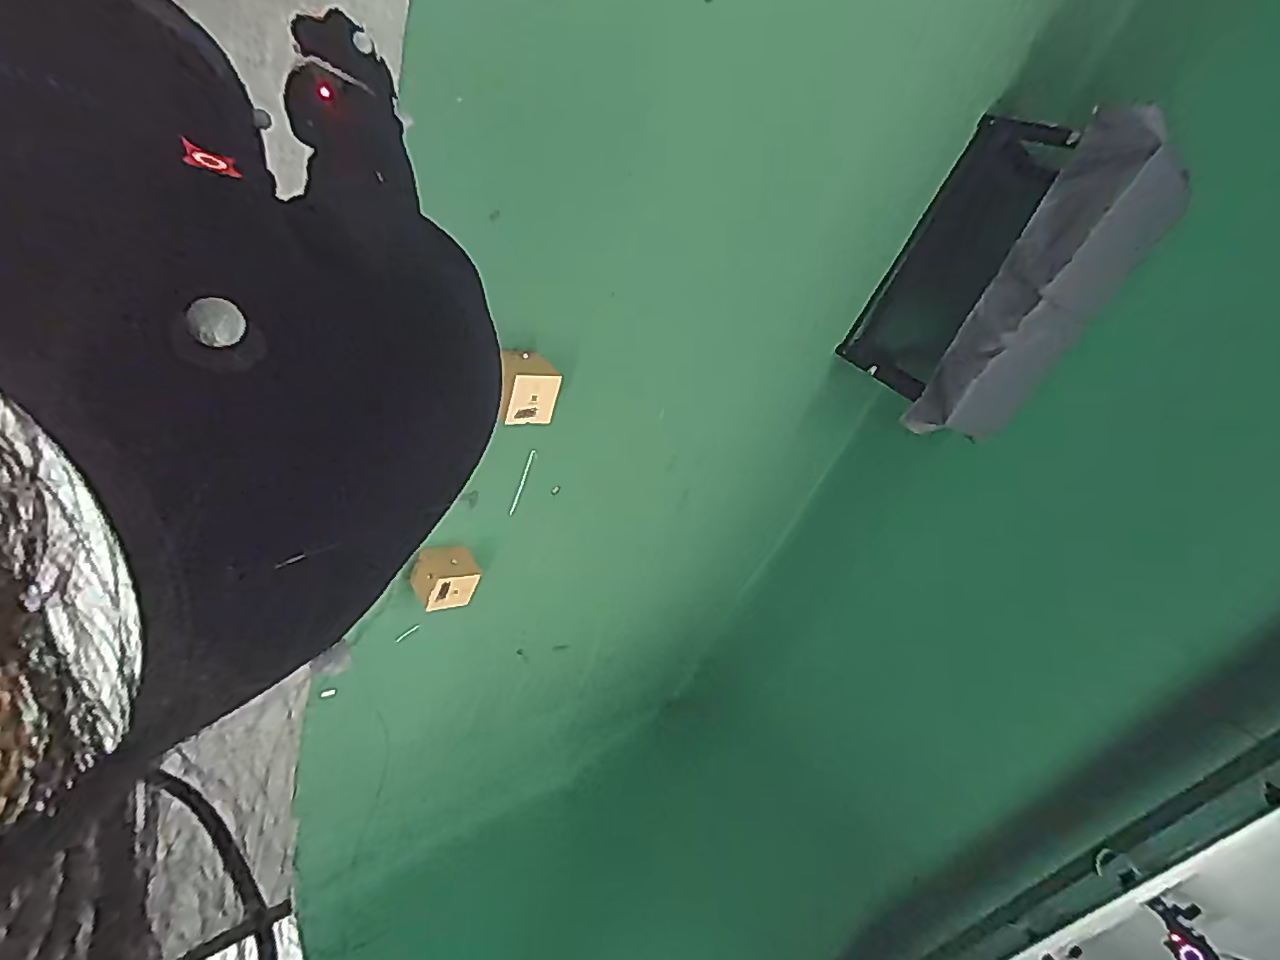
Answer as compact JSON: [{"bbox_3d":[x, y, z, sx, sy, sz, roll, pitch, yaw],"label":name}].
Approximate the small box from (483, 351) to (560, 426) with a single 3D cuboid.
[{"bbox_3d":[-0.385,-0.291,1.730,0.168,0.176,0.179,-8,130,-42],"label":"small box"}]
